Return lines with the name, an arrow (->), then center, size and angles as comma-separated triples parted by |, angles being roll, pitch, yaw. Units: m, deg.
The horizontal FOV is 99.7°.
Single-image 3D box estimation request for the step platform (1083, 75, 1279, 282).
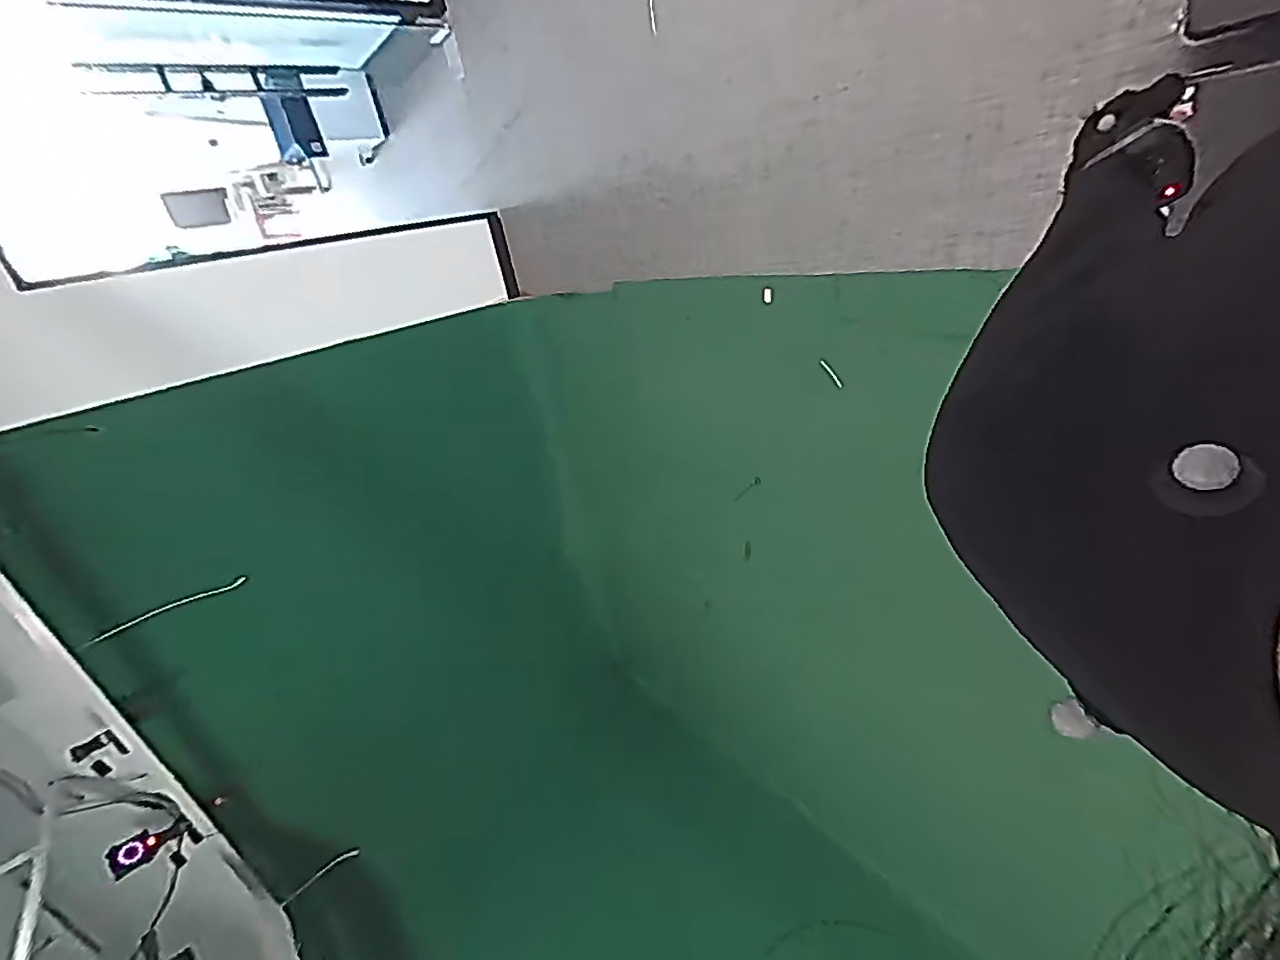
step platform -> 1.088, -0.457, 0.767 | 0.684, 0.204, 0.286 | 18, 127, 45
